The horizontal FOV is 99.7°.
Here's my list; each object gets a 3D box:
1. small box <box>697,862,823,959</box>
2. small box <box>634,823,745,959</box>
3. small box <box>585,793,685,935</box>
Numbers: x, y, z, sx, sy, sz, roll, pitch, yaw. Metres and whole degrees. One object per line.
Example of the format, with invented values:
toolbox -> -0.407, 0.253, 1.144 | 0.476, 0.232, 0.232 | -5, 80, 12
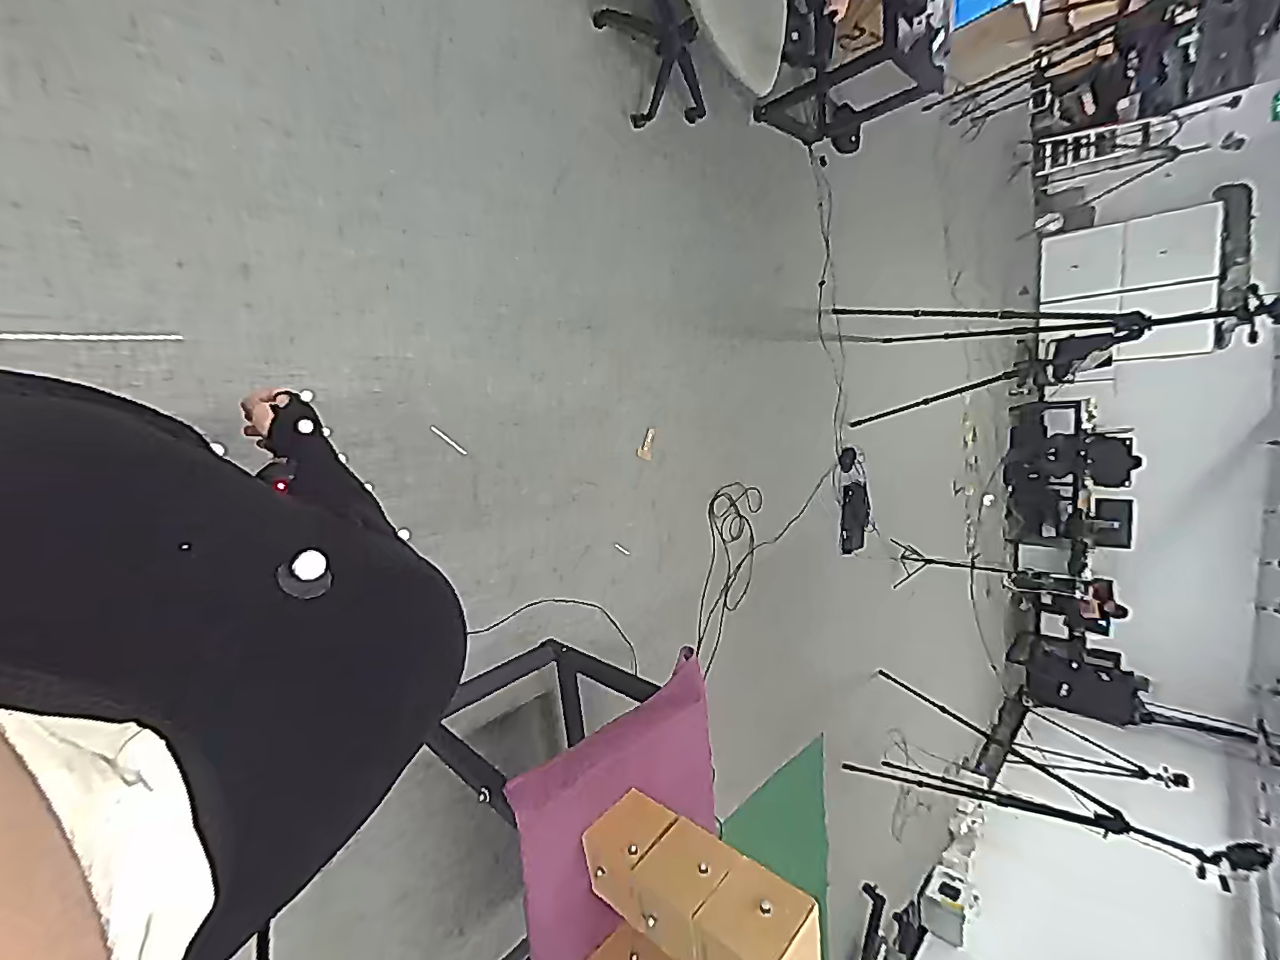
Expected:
small box -> 0.229, 0.887, 1.027 | 0.179, 0.176, 0.168 | -19, 106, -43
small box -> 0.112, 0.879, 1.142 | 0.179, 0.176, 0.168 | -21, 107, -42
small box -> -0.002, 0.878, 1.260 | 0.179, 0.176, 0.168 | -20, 107, -42
